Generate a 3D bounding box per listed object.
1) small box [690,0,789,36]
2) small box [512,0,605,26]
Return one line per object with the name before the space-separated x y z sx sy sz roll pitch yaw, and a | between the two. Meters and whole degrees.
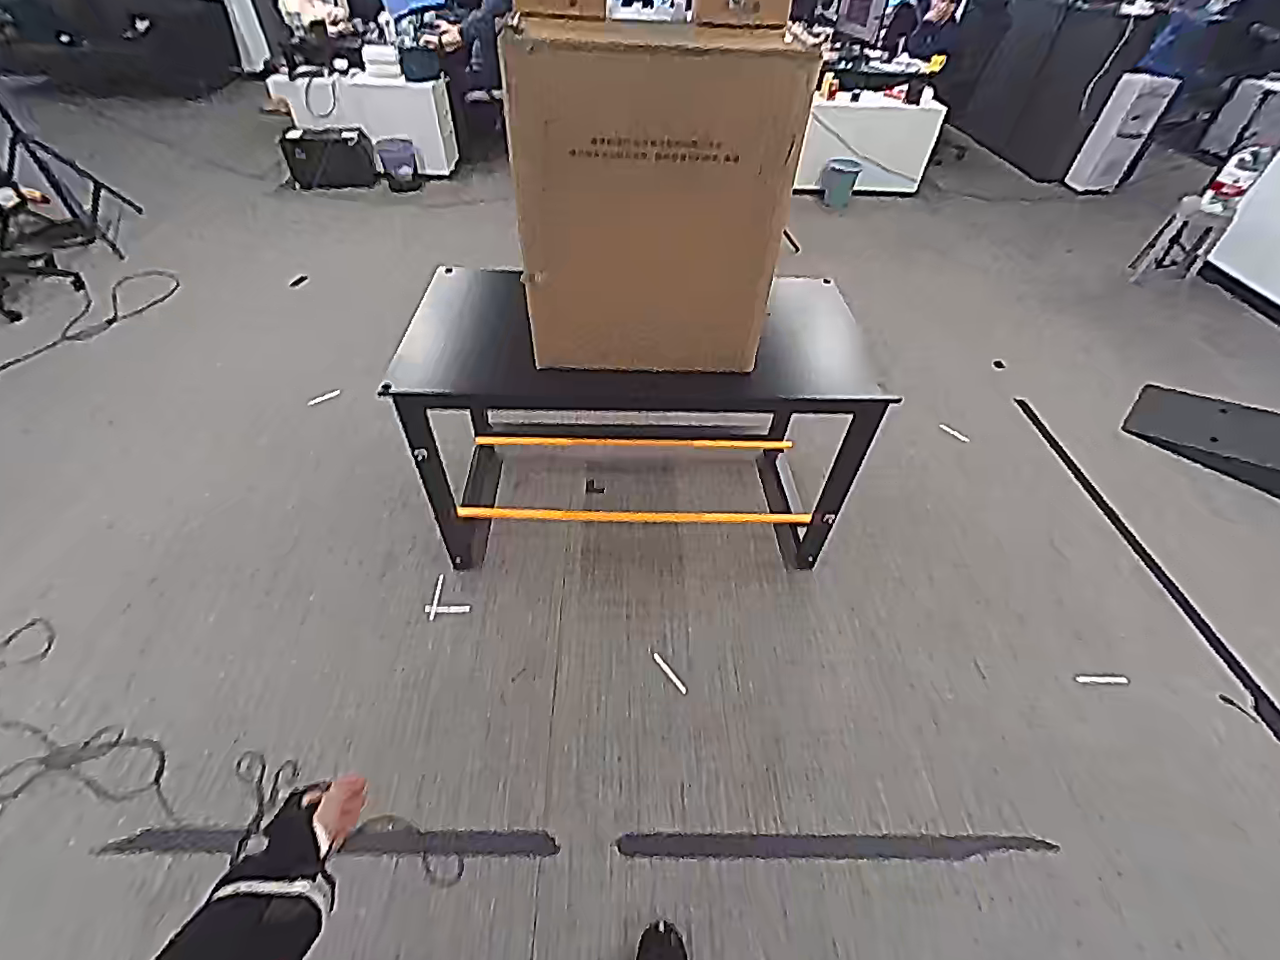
small box | 0.180 -0.916 0.968 0.168 0.176 0.179 0 45 0
small box | -0.147 -0.925 0.957 0.168 0.176 0.179 -2 46 -7
